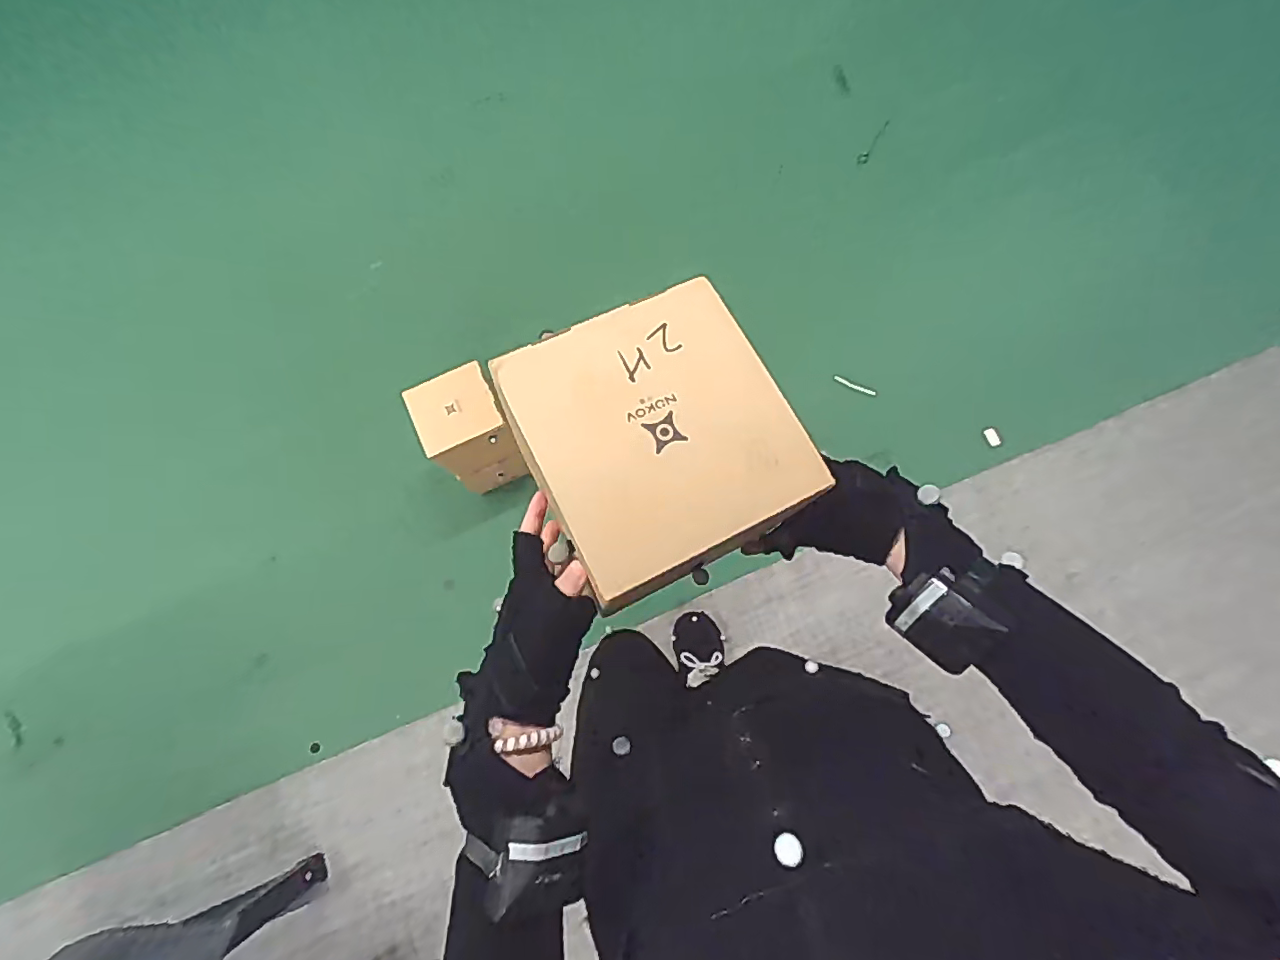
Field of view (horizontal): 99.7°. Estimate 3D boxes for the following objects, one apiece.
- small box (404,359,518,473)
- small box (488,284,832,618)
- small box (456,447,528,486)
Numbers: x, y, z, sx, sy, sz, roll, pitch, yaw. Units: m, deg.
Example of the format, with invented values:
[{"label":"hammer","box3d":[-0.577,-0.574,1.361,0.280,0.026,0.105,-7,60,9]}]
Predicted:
[{"label":"small box","box3d":[-0.387,-0.135,1.208,0.179,0.176,0.168,-25,77,-4]},{"label":"small box","box3d":[0.007,-0.007,0.416,0.168,0.176,0.179,-25,76,-12]},{"label":"small box","box3d":[-0.384,-0.095,1.367,0.168,0.176,0.179,-24,78,-4]}]
